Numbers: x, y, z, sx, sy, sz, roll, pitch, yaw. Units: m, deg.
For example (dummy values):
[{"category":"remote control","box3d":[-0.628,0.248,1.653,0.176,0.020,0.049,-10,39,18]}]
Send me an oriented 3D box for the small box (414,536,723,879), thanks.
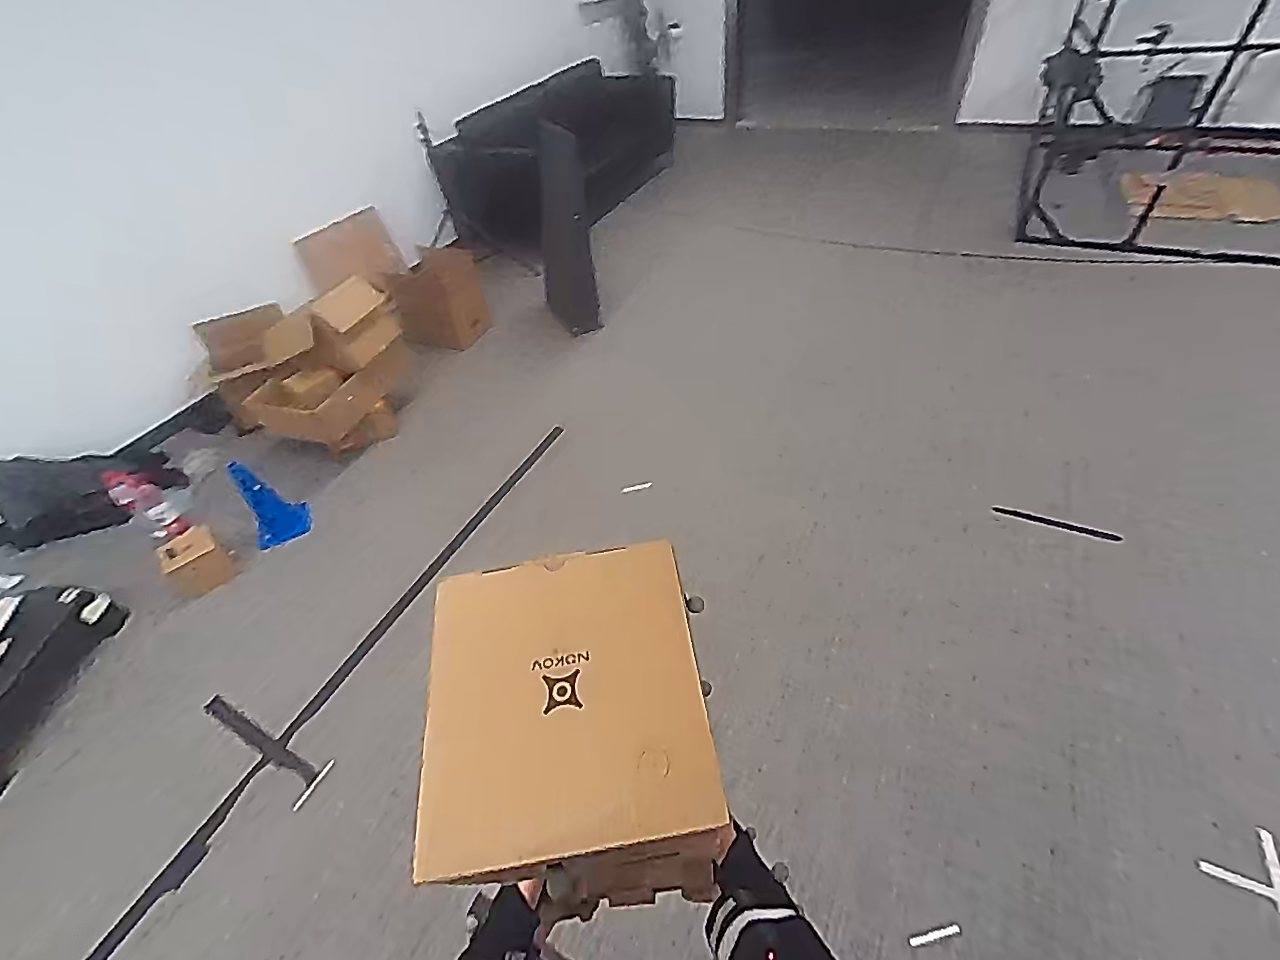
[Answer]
[{"category":"small box","box3d":[-0.039,0.167,0.387,0.168,0.176,0.179,-9,52,-1]}]
